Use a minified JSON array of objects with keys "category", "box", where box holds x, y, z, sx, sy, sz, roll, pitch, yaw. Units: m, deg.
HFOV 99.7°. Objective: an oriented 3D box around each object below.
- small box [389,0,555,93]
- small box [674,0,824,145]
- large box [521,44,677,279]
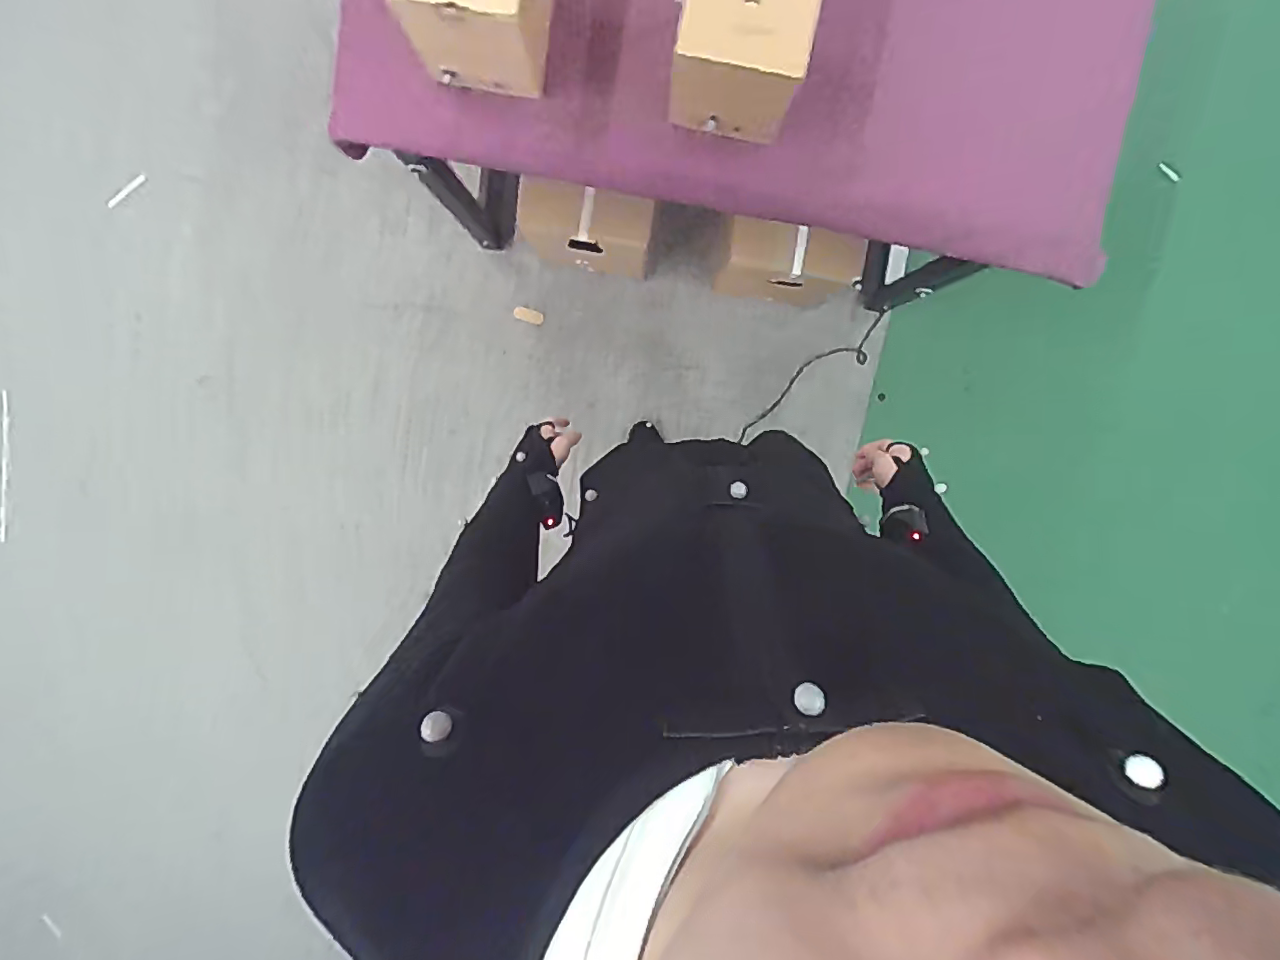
[{"category":"small box","box":[-0.214,-0.666,0.725,0.168,0.176,0.179,9,95,-1]},{"category":"small box","box":[0.143,-0.601,0.734,0.168,0.176,0.179,12,96,0]},{"category":"large box","box":[-0.093,-0.774,1.381,0.320,0.320,0.408,10,96,-2]}]
